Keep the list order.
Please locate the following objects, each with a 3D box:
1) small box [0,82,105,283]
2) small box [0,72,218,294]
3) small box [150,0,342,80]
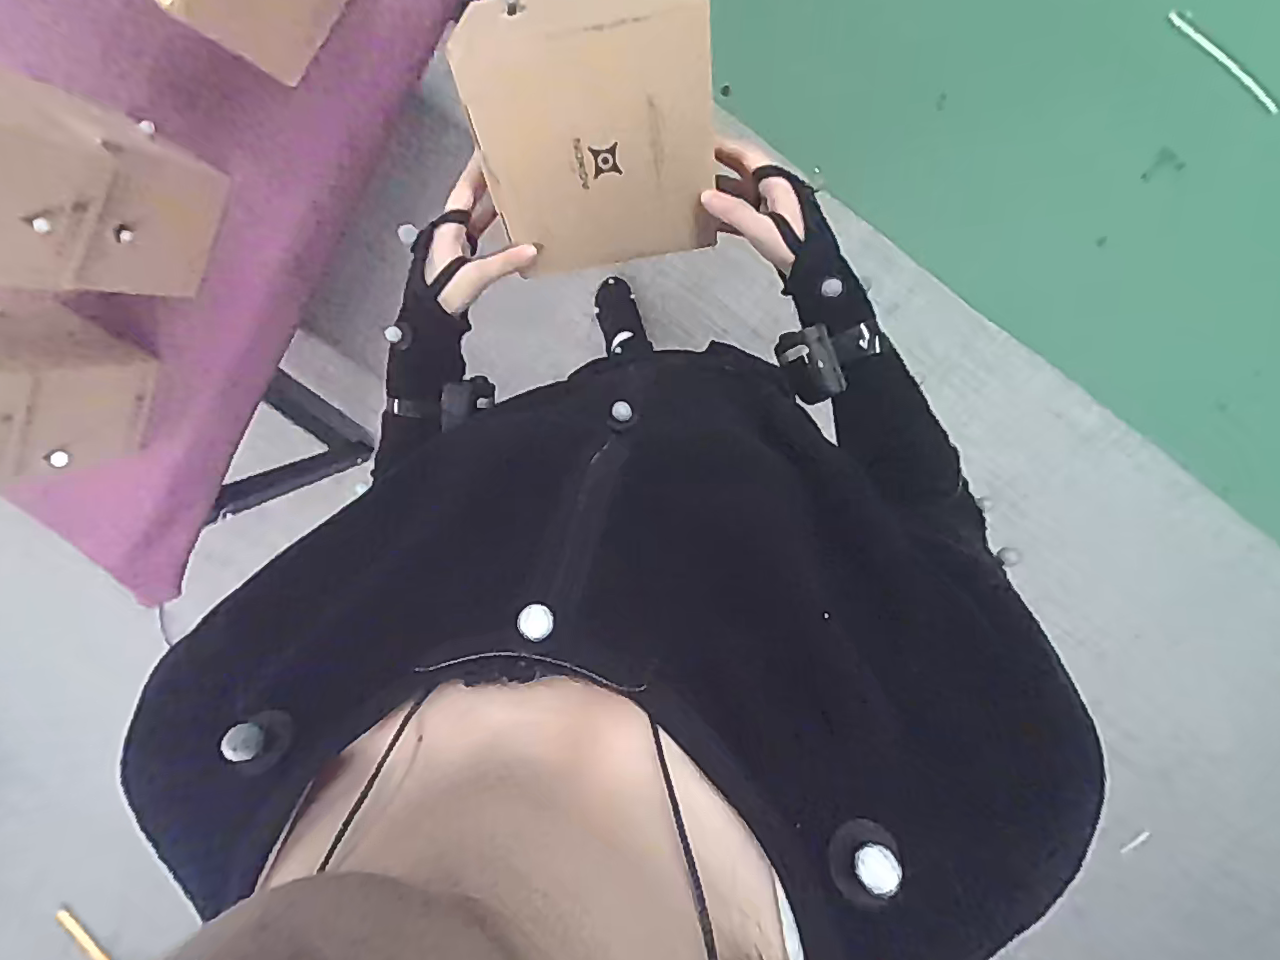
[{"bbox_3d":[-0.679,-0.303,0.502,0.179,0.176,0.168,37,106,-5],"label":"small box"},{"bbox_3d":[-0.671,-0.347,0.661,0.168,0.176,0.179,30,105,-3],"label":"small box"},{"bbox_3d":[-0.446,-0.587,0.571,0.179,0.176,0.168,-42,96,16],"label":"small box"}]
